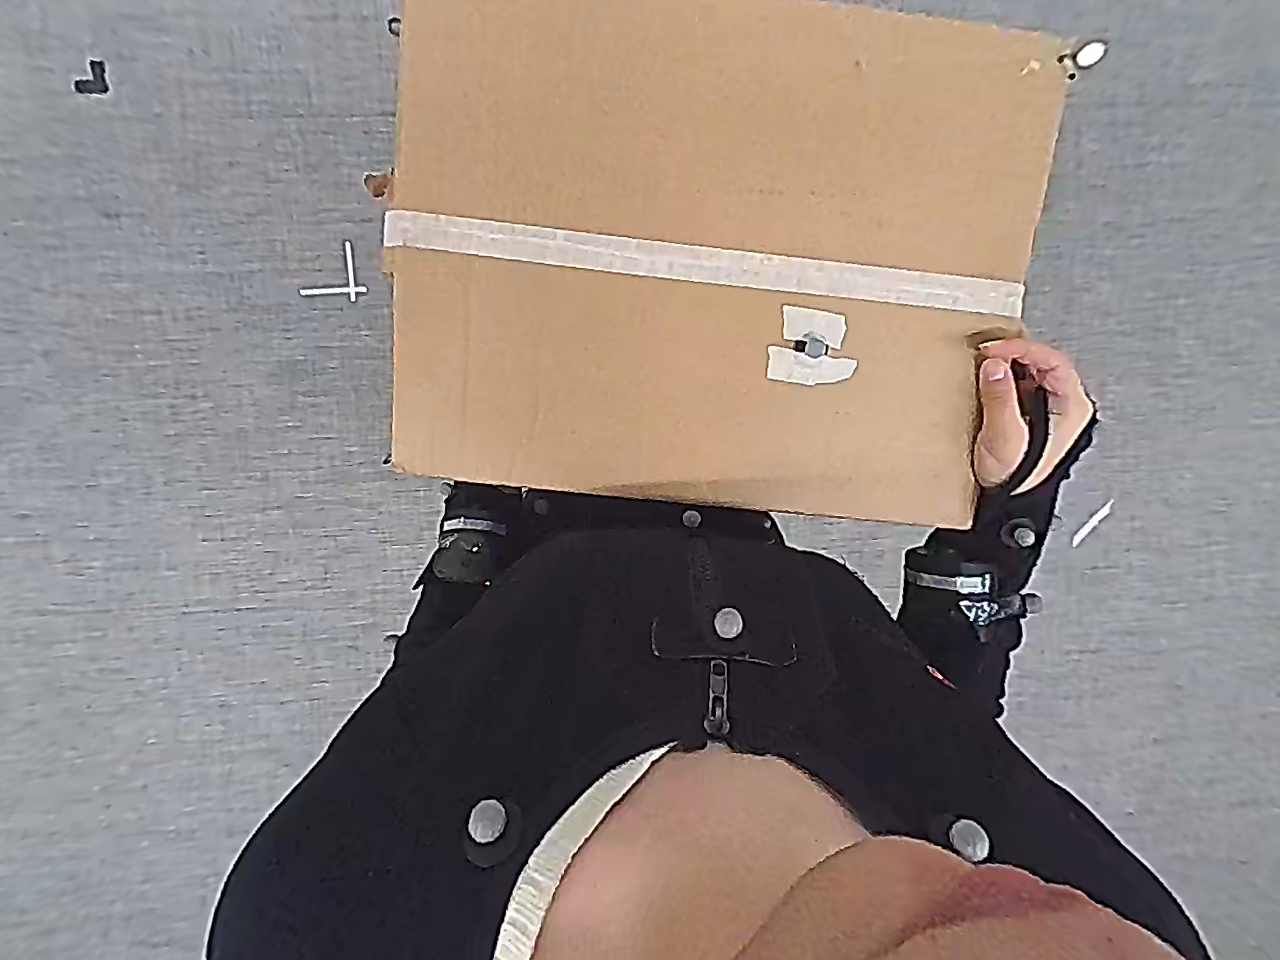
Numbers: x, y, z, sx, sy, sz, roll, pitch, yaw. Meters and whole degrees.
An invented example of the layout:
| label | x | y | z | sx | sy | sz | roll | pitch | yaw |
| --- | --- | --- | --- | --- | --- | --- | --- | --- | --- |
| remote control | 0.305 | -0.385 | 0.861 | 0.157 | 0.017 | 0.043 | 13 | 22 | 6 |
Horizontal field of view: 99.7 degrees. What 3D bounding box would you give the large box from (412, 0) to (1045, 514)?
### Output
| label | x | y | z | sx | sy | sz | roll | pitch | yaw |
| --- | --- | --- | --- | --- | --- | --- | --- | --- | --- |
| large box | 0.042 | -0.162 | 0.504 | 0.408 | 0.320 | 0.320 | 5 | 101 | -4 |
